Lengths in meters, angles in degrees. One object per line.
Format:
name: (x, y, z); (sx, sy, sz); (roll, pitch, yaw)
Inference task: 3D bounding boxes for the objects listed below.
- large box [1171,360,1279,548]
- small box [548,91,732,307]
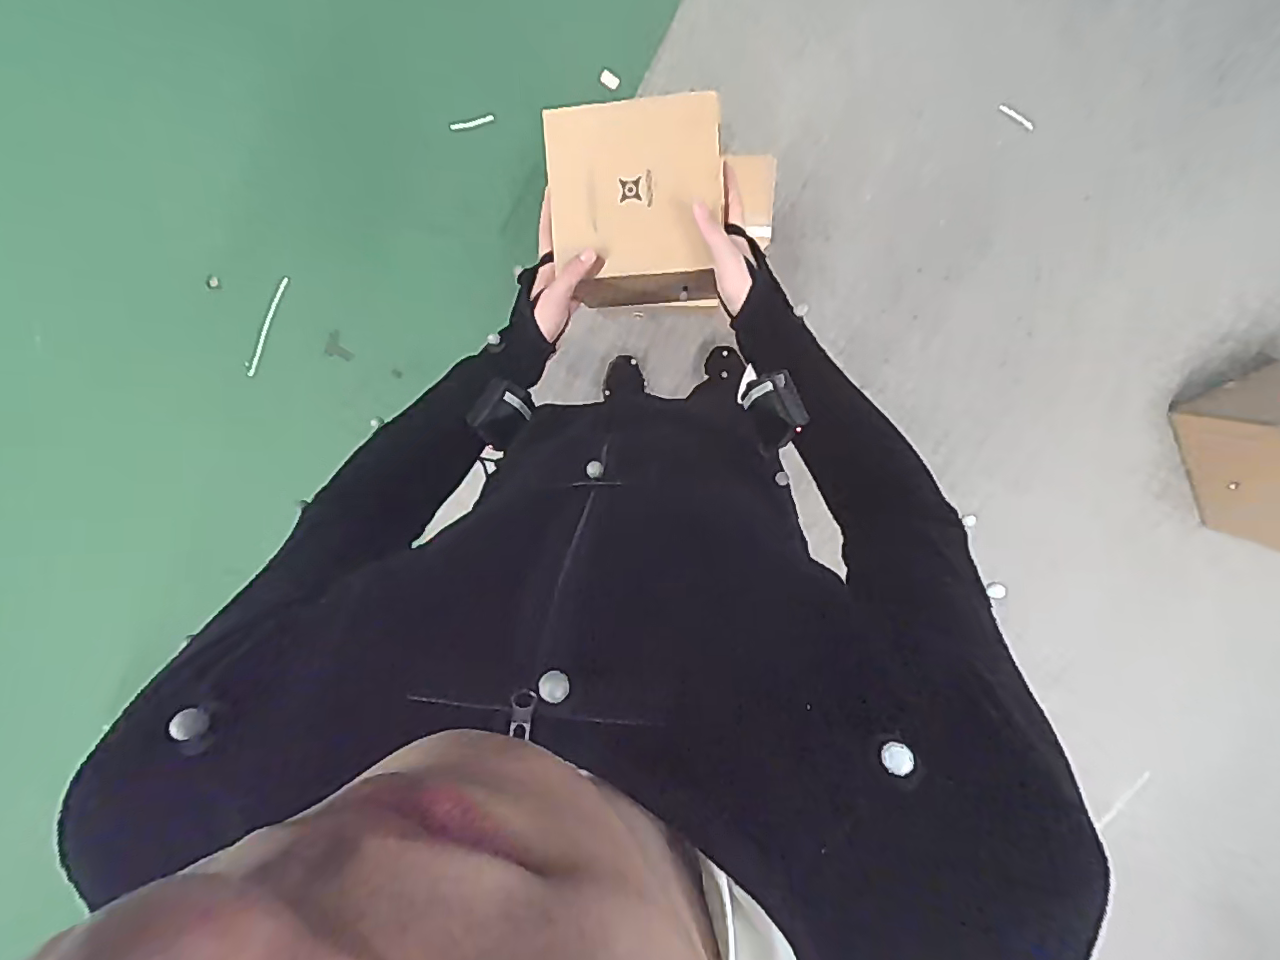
large box: (1.727, -0.063, 1.407); (0.320, 0.320, 0.408); (-28, 101, 8)
small box: (0.008, -0.295, 0.605); (0.179, 0.176, 0.168); (-2, 98, 7)
